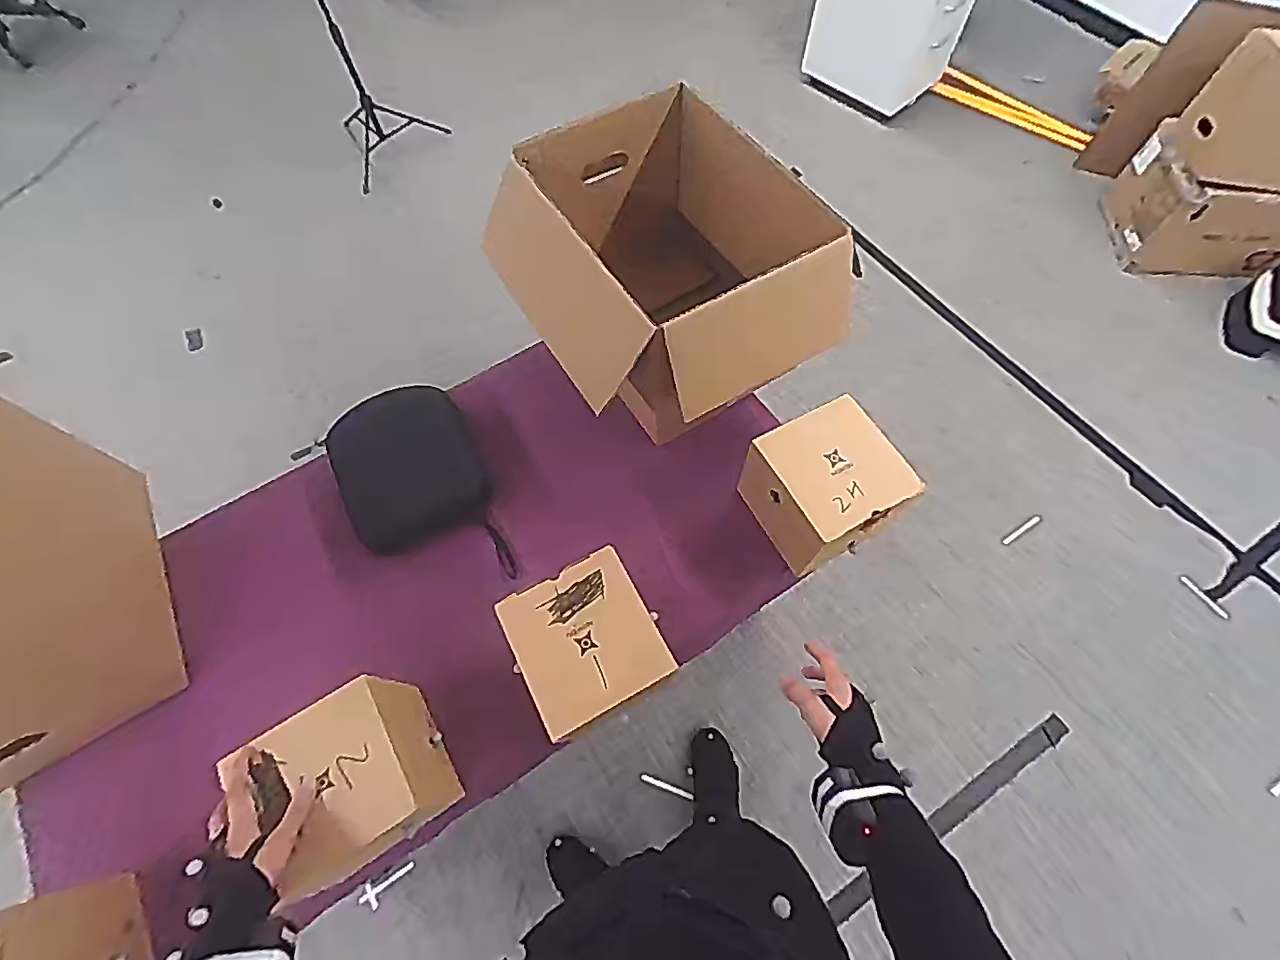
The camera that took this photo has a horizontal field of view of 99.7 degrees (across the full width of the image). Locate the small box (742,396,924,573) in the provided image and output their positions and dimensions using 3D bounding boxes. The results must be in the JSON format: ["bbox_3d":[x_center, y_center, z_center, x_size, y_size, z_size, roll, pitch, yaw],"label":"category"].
[{"bbox_3d":[0.269,0.013,0.805,0.168,0.176,0.179,-26,67,-9],"label":"small box"}]

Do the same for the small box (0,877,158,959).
[{"bbox_3d":[-0.672,0.572,0.573,0.179,0.176,0.168,-33,68,-14],"label":"small box"}]

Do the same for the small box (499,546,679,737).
[{"bbox_3d":[-0.063,0.220,0.720,0.168,0.176,0.179,-27,68,-10],"label":"small box"}]
